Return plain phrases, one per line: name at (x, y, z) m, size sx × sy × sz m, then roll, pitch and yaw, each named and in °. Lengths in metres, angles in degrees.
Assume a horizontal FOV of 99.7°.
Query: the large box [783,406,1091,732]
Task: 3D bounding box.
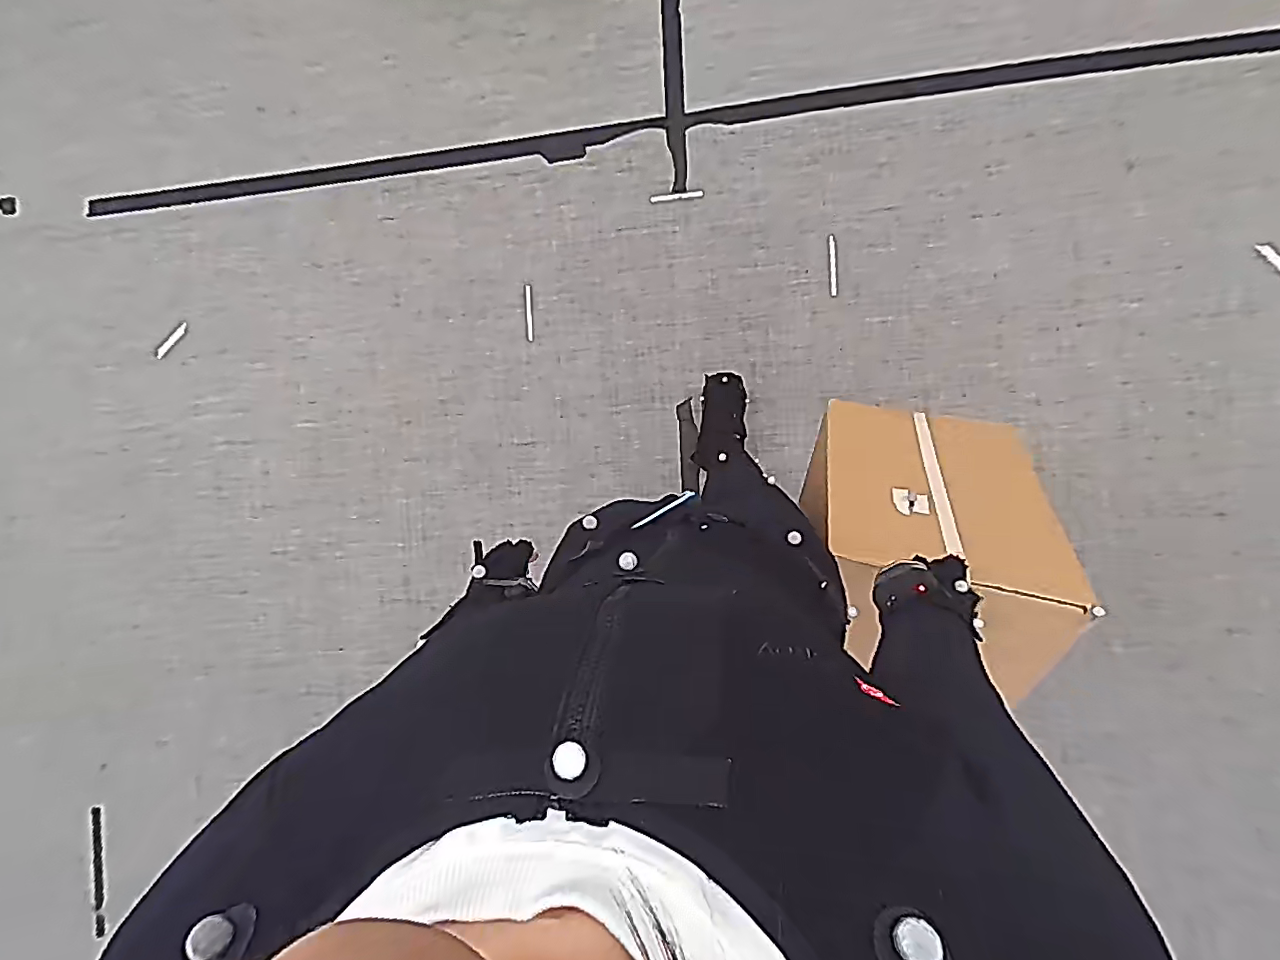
large box at (0.431, 0.128, 0.910) m, size 0.320 × 0.408 × 0.320 m, roll 10°, pitch 130°, yaw 11°
